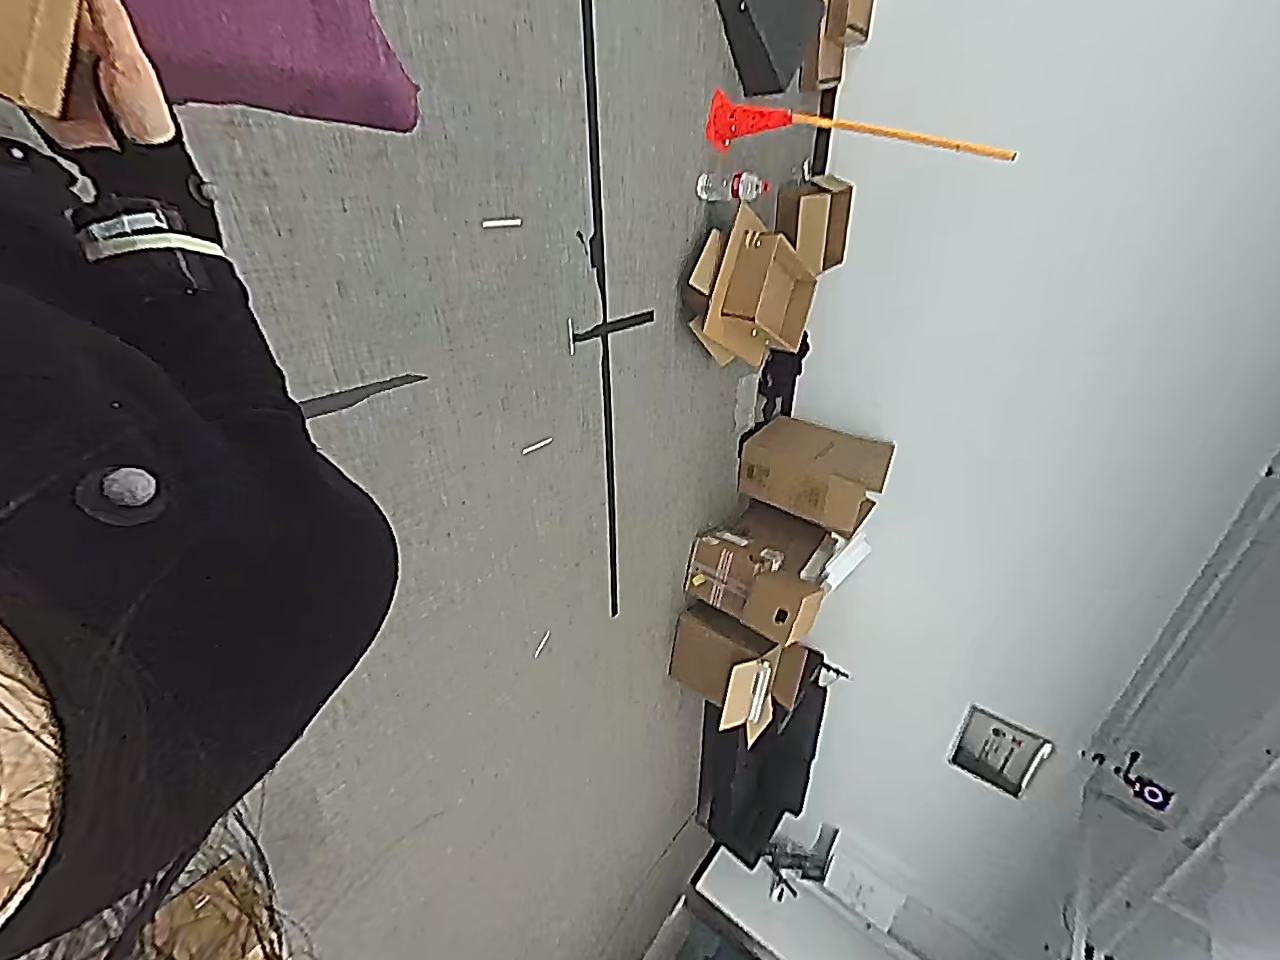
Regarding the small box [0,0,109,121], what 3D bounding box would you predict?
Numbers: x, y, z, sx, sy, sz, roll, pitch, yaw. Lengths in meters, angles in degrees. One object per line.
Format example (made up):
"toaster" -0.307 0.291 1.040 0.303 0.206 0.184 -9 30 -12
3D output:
"small box" -0.356 -0.298 0.243 0.168 0.176 0.179 13 106 -46
